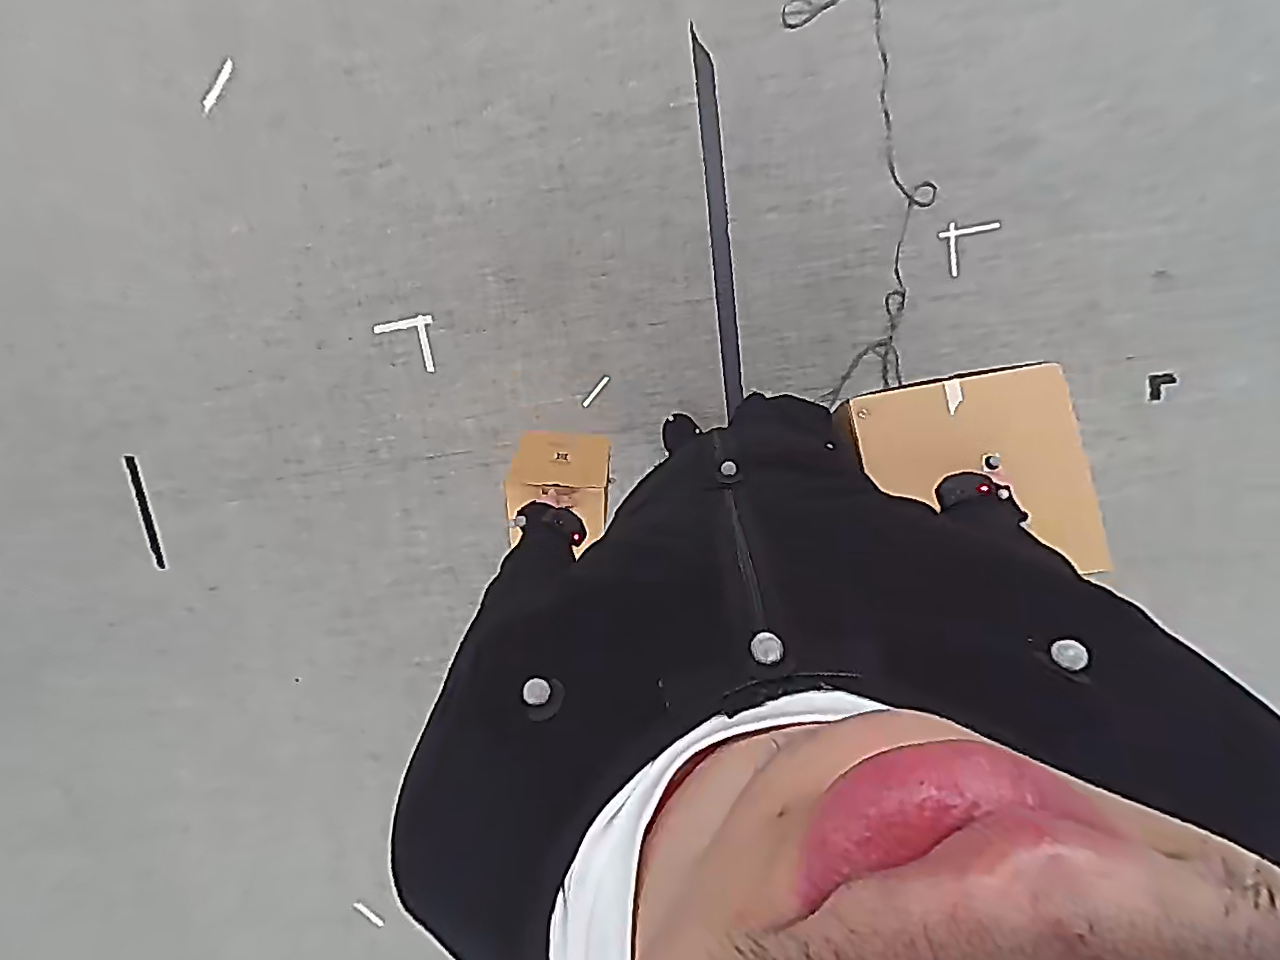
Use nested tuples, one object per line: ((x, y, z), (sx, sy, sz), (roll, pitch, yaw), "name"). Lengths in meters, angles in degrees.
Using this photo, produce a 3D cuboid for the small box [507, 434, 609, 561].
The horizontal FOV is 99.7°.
((-0.145, 0.033, 1.009), (0.168, 0.179, 0.176), (4, 123, -3), "small box")
